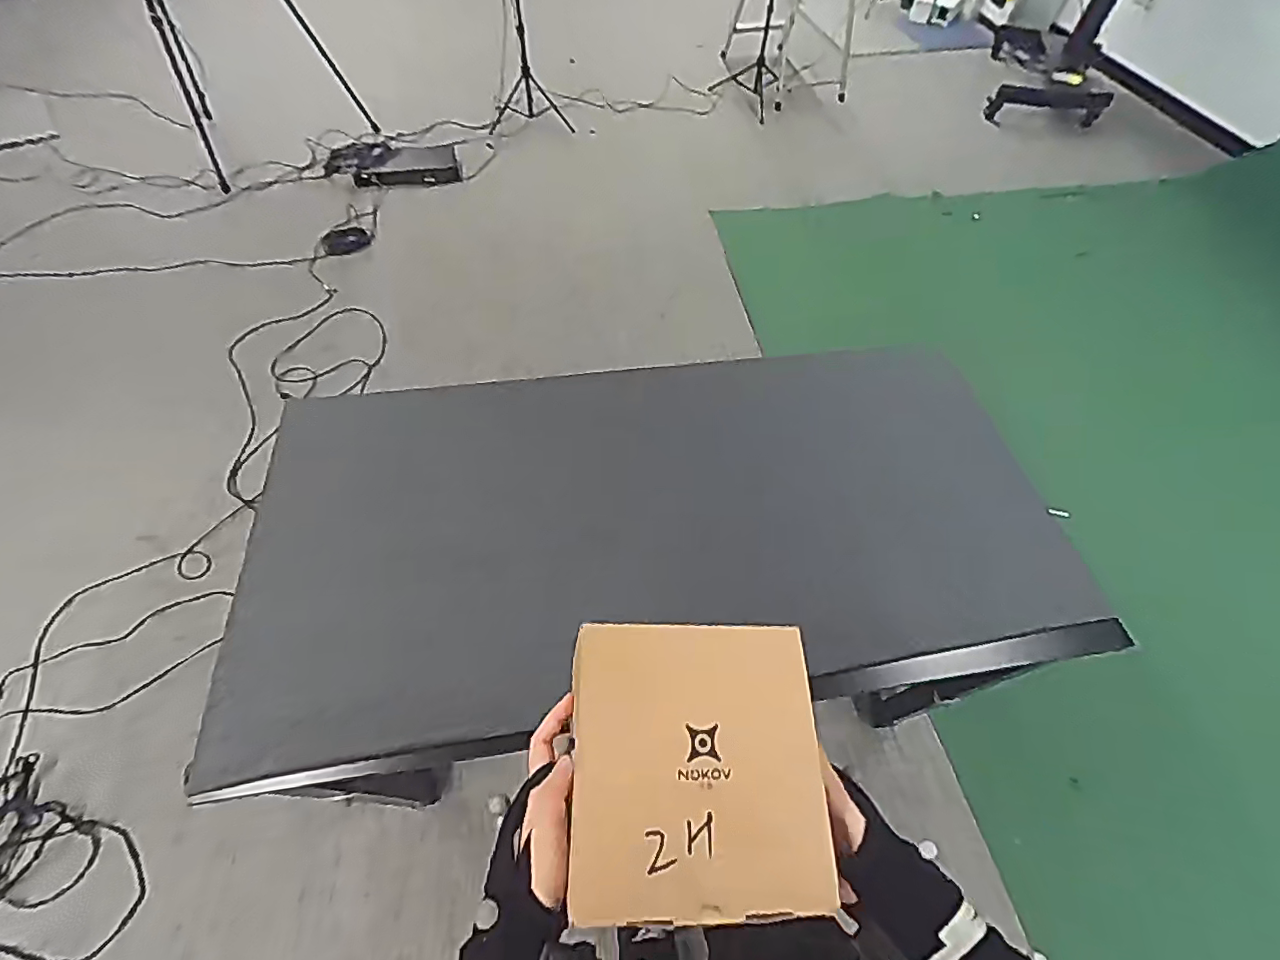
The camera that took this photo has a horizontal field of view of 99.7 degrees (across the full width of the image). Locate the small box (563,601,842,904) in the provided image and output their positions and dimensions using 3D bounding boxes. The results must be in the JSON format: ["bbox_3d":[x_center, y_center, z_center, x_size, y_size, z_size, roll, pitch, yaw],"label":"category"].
[{"bbox_3d":[0.028,0.207,0.421,0.168,0.176,0.179,3,60,-6],"label":"small box"}]
